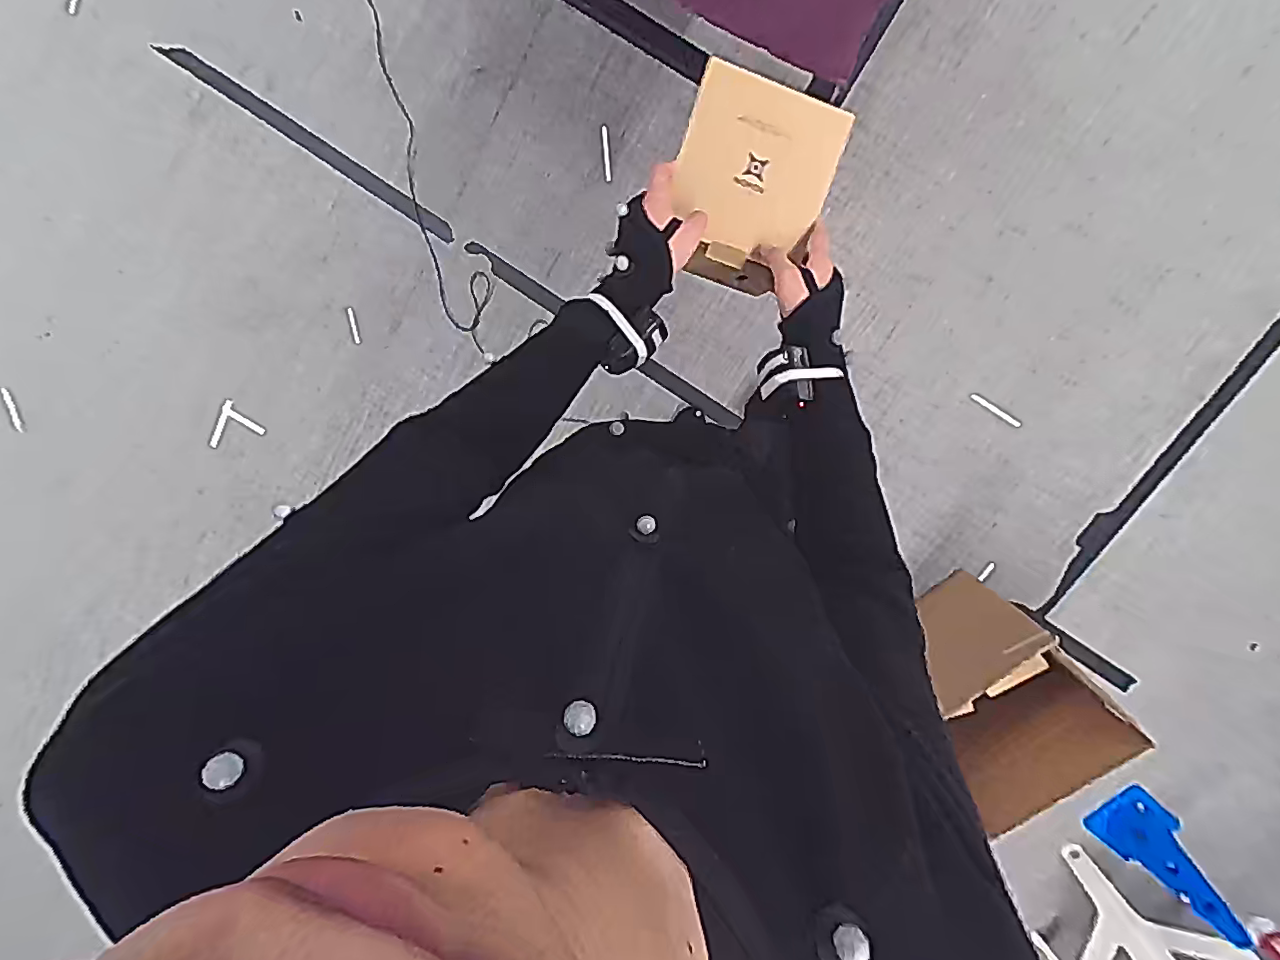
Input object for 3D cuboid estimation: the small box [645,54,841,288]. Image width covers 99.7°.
[{"bbox_3d":[0.108,-0.348,0.653,0.168,0.176,0.179,17,100,-5],"label":"small box"}]
